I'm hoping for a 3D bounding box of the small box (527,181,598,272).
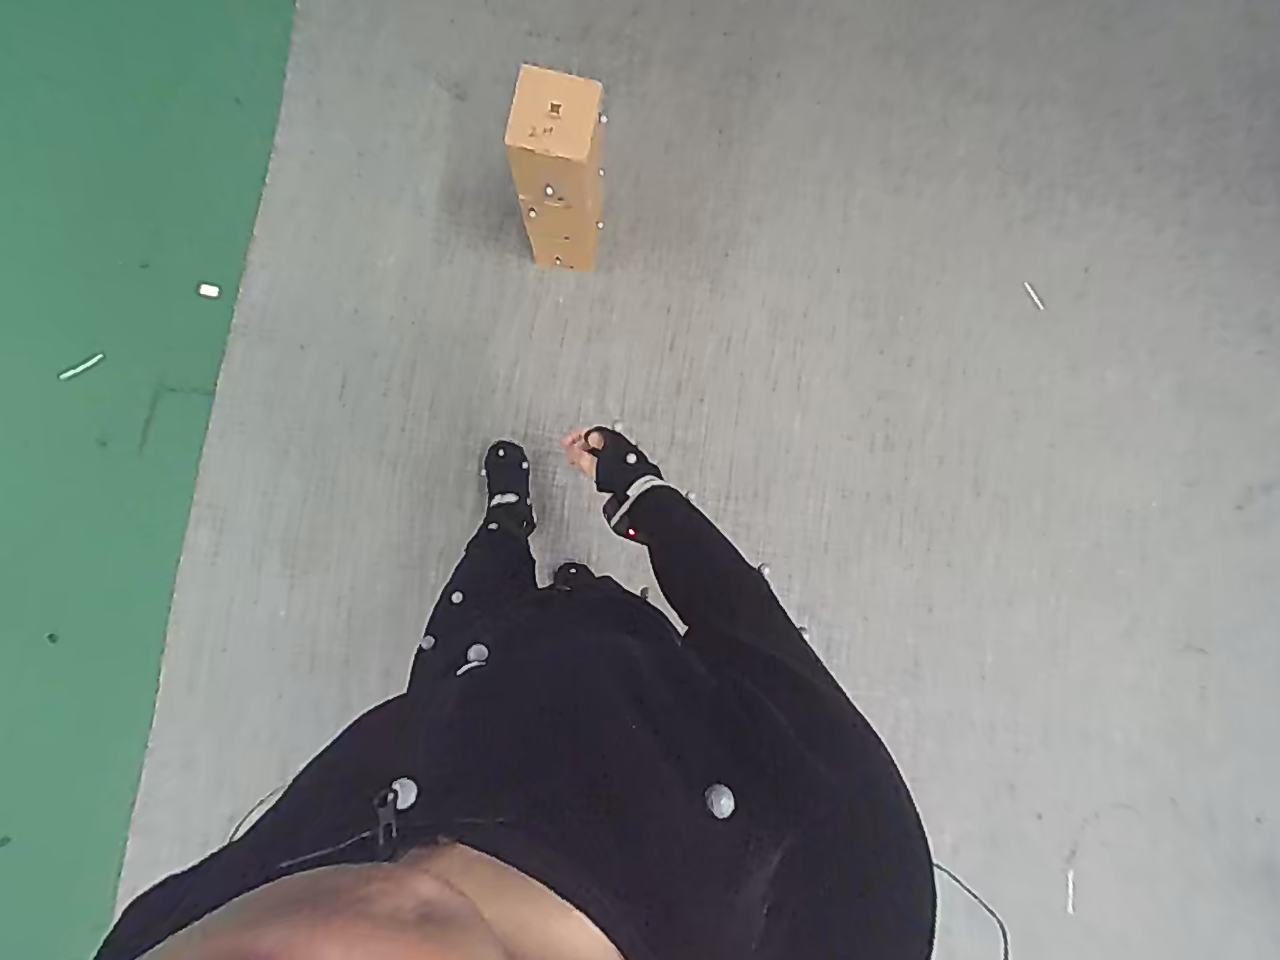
[{"bbox_3d":[-0.209,-0.701,1.480,0.168,0.176,0.179,8,86,-5],"label":"small box"}]

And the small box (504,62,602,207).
[{"bbox_3d":[-0.180,-0.726,1.153,0.168,0.176,0.179,11,85,-4],"label":"small box"}]
